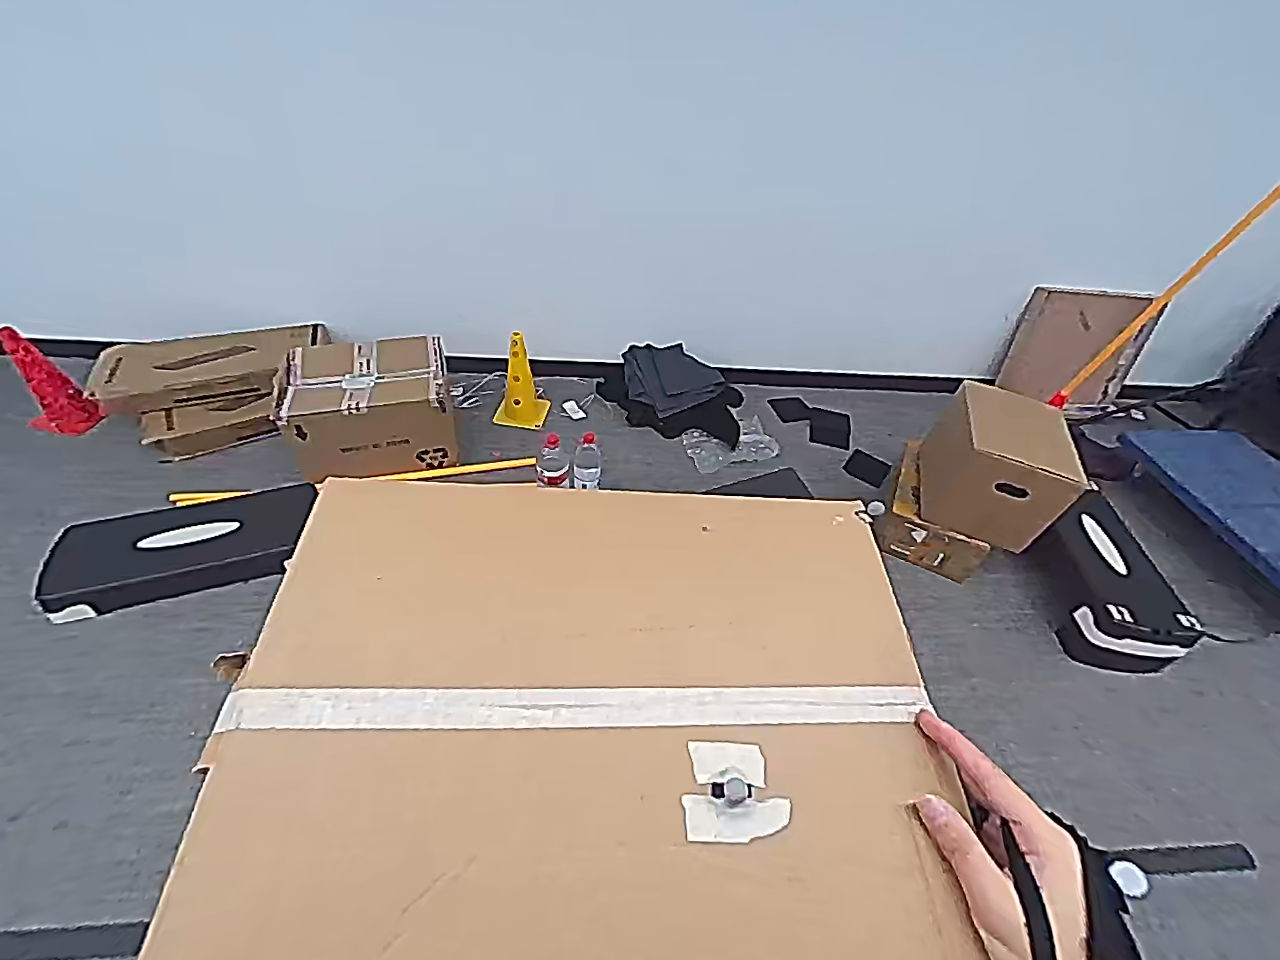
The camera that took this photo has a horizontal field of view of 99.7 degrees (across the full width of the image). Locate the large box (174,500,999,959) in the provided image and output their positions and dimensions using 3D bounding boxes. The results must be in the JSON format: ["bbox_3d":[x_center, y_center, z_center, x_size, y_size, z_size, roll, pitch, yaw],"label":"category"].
[{"bbox_3d":[-0.037,0.234,0.443,0.408,0.320,0.320,3,54,-7],"label":"large box"}]
